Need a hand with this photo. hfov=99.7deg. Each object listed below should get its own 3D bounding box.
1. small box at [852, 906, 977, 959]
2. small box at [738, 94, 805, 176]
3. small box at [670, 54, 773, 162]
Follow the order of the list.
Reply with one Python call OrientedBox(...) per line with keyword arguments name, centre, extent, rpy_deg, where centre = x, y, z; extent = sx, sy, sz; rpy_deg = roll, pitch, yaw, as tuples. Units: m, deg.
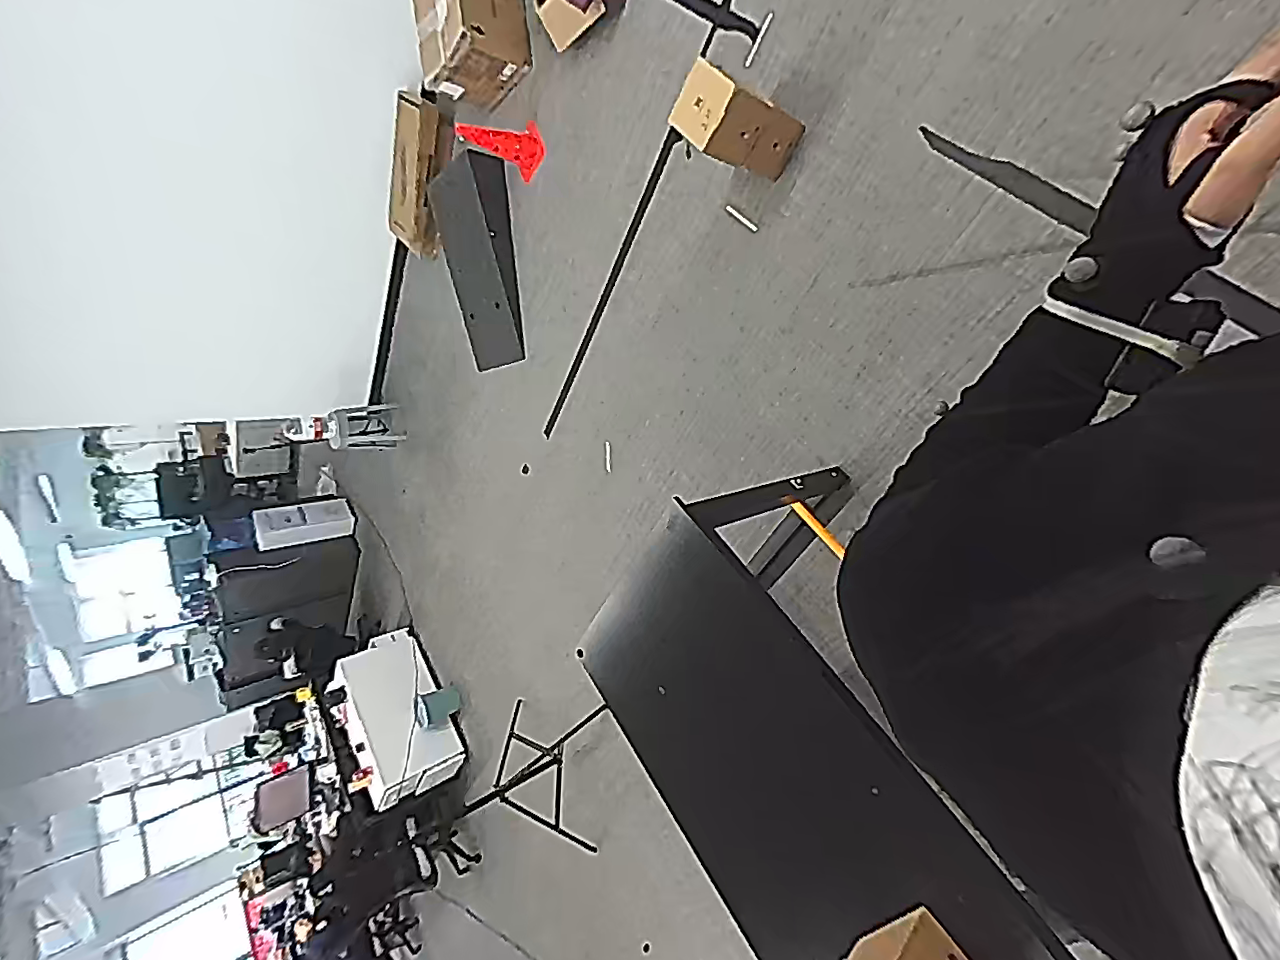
OrientedBox(name="small box", centre=(0.407, 0.783, 0.790), extent=(0.168, 0.176, 0.179), rpy_deg=(46, 127, 30))
OrientedBox(name="small box", centre=(0.343, -1.014, 1.574), extent=(0.179, 0.176, 0.168), rpy_deg=(51, 130, 27))
OrientedBox(name="small box", centre=(0.221, -0.995, 1.462), extent=(0.179, 0.176, 0.168), rpy_deg=(56, 133, 23))
